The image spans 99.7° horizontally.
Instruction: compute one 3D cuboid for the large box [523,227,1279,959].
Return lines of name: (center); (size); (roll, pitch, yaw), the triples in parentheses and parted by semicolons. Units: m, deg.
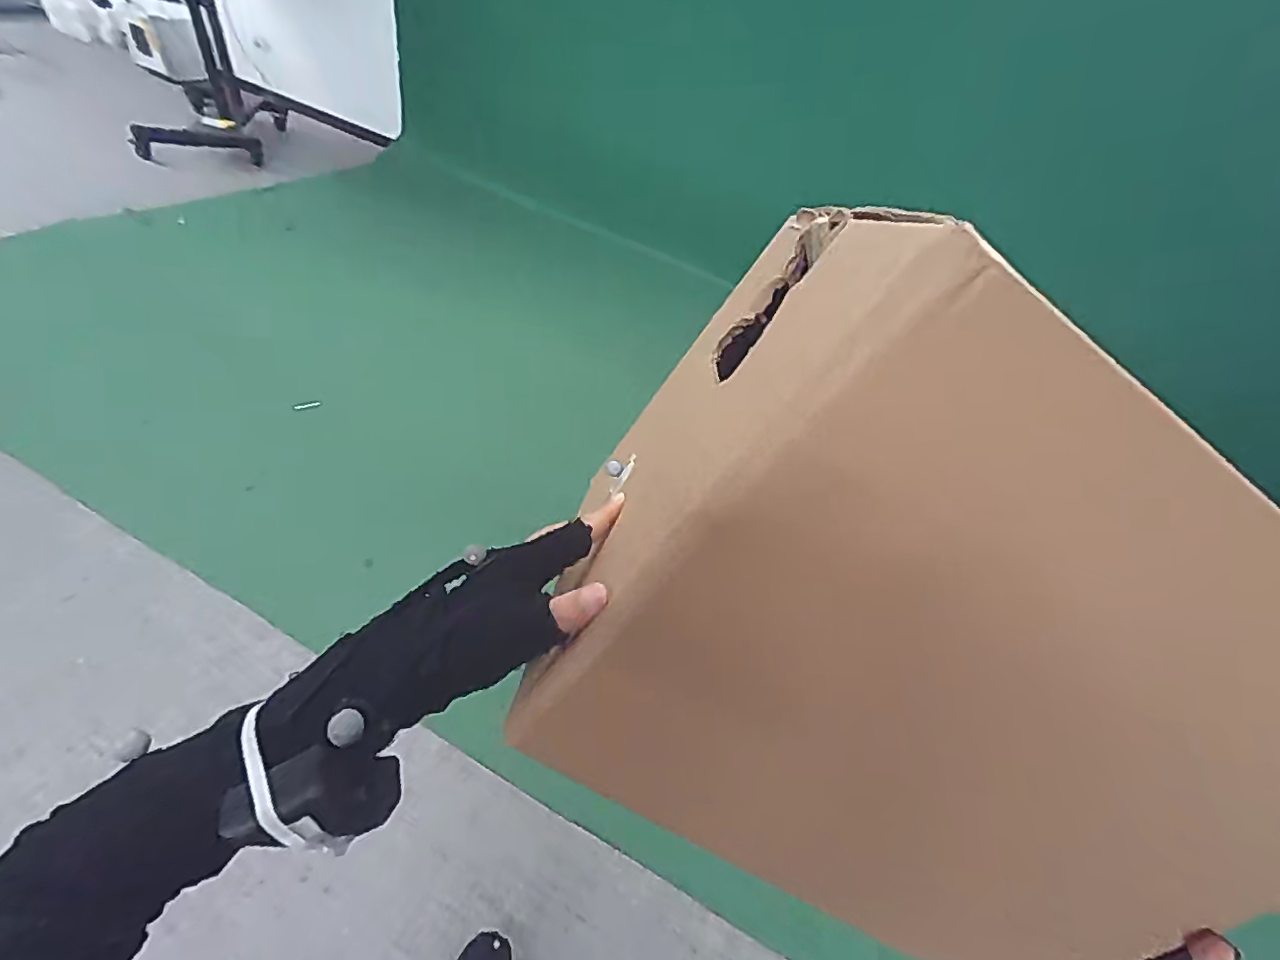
large box: (0.185, 0.070, 0.415); (0.408, 0.320, 0.320); (35, 25, -11)
